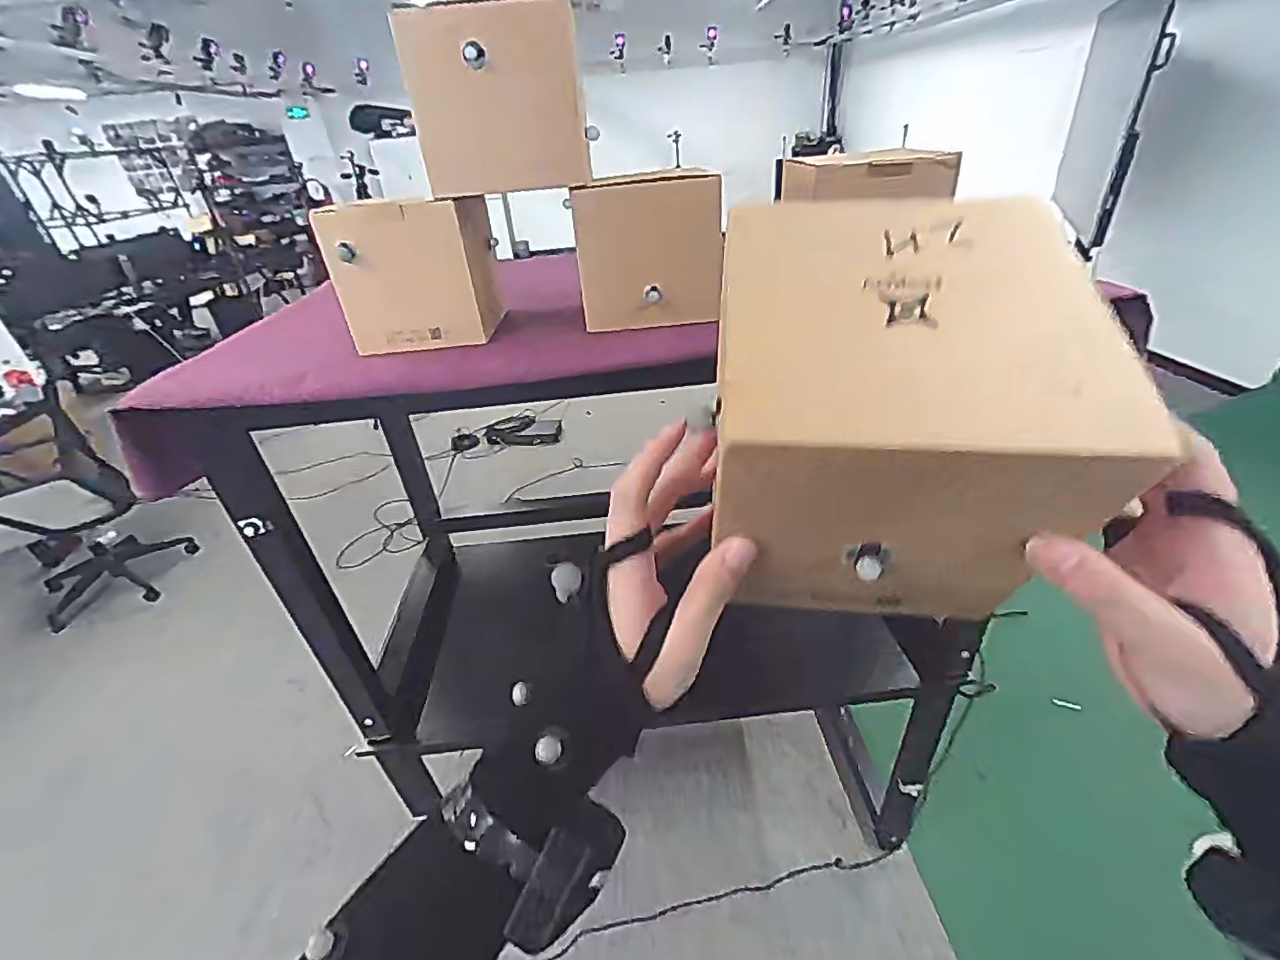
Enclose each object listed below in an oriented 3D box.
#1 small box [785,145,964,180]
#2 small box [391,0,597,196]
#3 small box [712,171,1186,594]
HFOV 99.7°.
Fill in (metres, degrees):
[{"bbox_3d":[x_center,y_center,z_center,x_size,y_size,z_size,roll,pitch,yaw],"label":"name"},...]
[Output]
[{"bbox_3d":[0.288,-0.333,0.714,0.168,0.176,0.179,-3,32,3],"label":"small box"},{"bbox_3d":[-0.150,-0.430,0.624,0.179,0.176,0.168,-4,32,0],"label":"small box"},{"bbox_3d":[0.129,-0.047,0.312,0.168,0.176,0.179,3,56,7],"label":"small box"}]
